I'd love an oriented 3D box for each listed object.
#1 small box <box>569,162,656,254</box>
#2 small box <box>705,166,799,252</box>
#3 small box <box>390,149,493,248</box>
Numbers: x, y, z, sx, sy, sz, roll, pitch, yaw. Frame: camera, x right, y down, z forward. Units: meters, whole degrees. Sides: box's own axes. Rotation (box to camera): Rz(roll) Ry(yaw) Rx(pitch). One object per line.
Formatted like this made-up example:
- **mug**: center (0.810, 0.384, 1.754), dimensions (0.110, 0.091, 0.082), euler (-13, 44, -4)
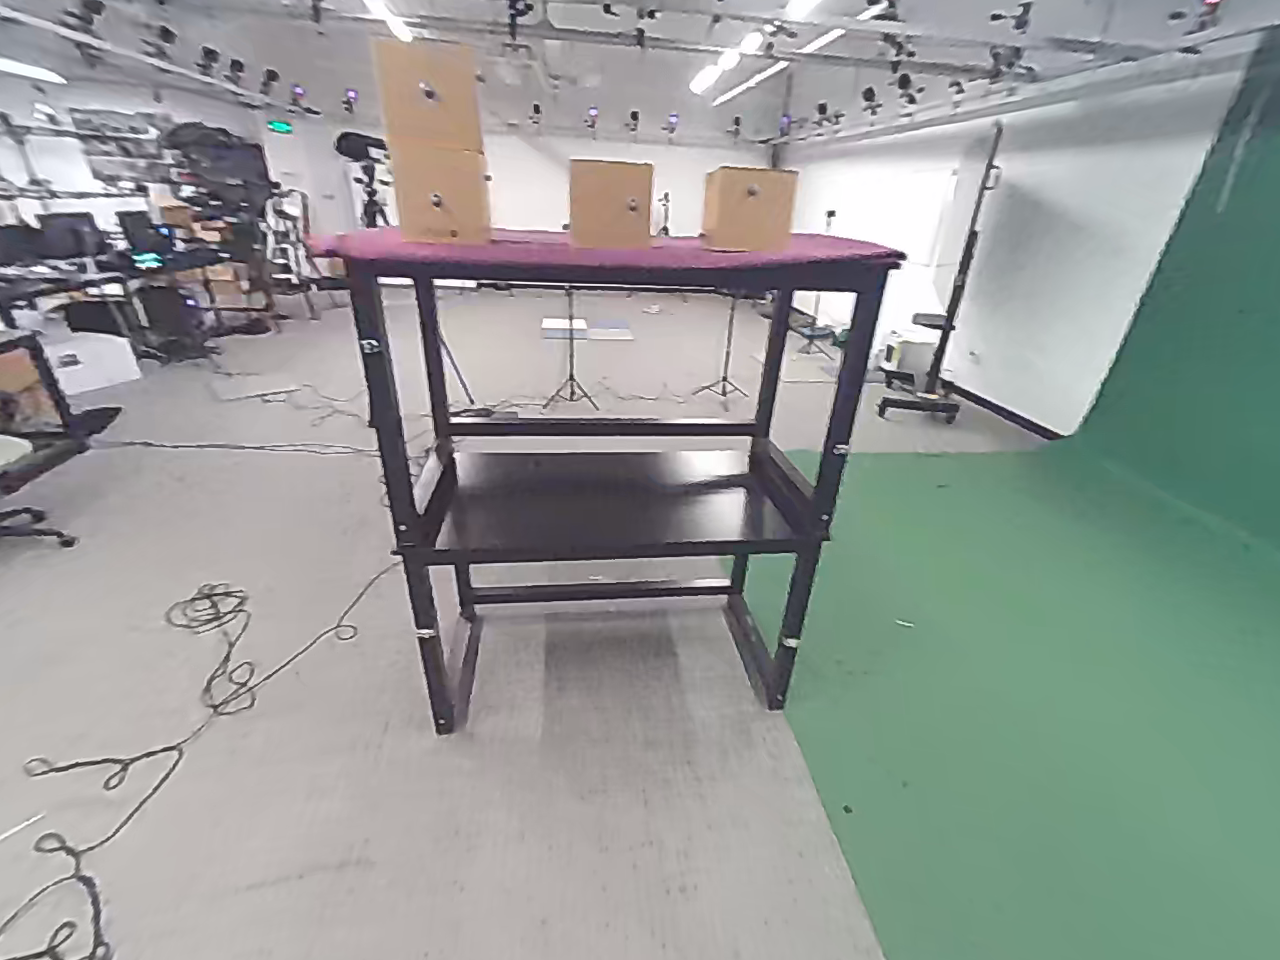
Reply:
- **small box**: center (-0.066, -0.600, 1.195), dimensions (0.179, 0.176, 0.168), euler (-3, 27, -8)
- **small box**: center (0.250, -0.624, 1.258), dimensions (0.179, 0.176, 0.168), euler (-1, 25, -6)
- **small box**: center (-0.400, -0.580, 1.122), dimensions (0.168, 0.176, 0.179), euler (-1, 28, -10)
